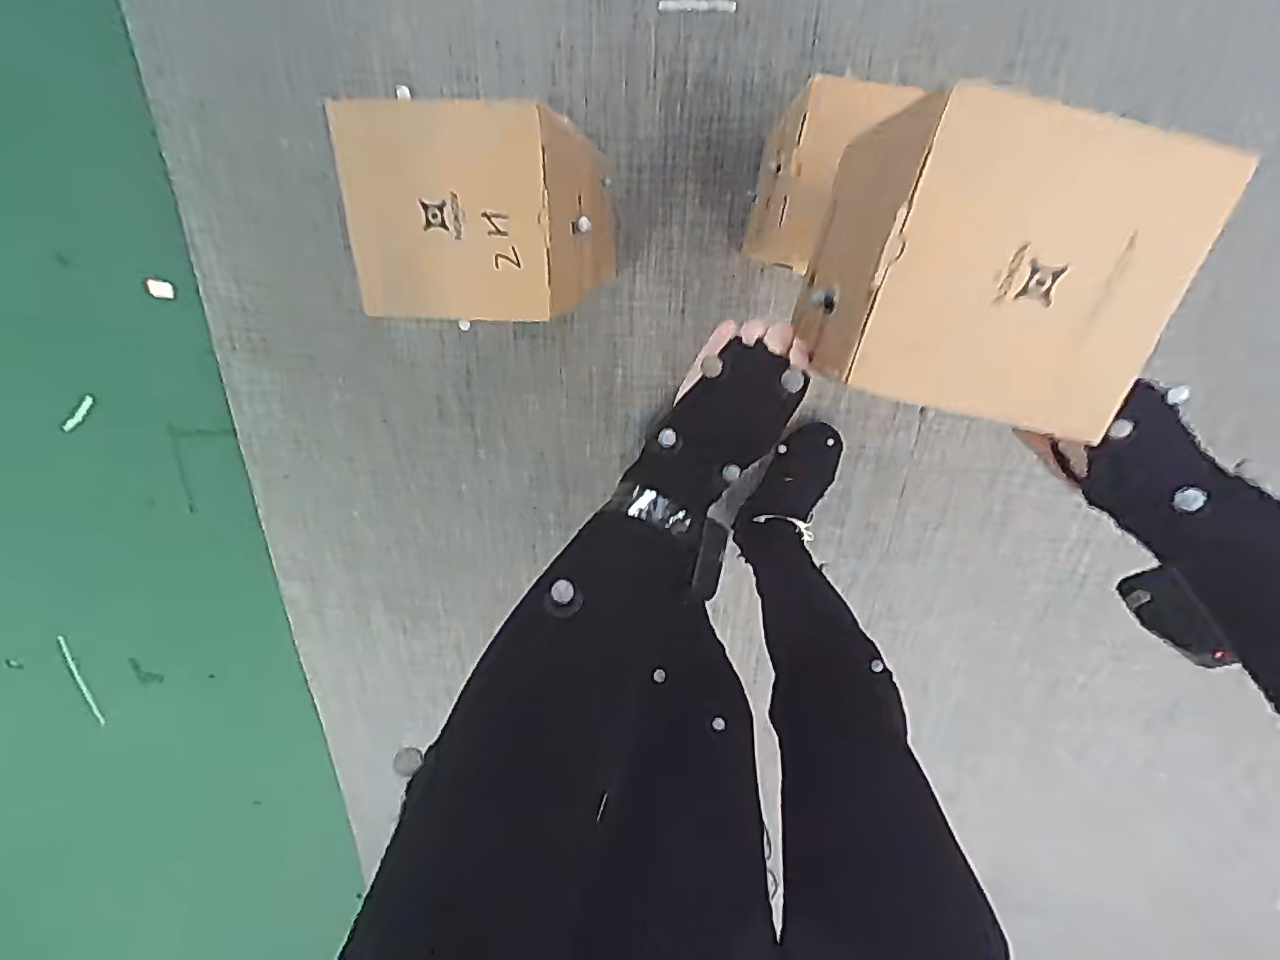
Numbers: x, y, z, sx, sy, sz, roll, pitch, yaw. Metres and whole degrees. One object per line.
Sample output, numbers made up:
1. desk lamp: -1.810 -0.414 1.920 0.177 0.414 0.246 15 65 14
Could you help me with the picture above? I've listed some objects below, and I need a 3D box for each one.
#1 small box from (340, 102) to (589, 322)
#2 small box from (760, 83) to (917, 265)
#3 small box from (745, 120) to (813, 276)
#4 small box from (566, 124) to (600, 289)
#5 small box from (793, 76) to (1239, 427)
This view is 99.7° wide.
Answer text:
1. small box: -0.151 -0.252 0.530 0.179 0.176 0.168 3 113 4
2. small box: 0.251 -0.338 0.637 0.179 0.176 0.168 9 114 2
3. small box: 0.255 -0.396 0.789 0.168 0.176 0.179 10 115 0
4. small box: -0.143 -0.328 0.677 0.168 0.176 0.179 2 112 4
5. small box: 0.231 -0.154 0.395 0.179 0.176 0.168 12 112 -4
